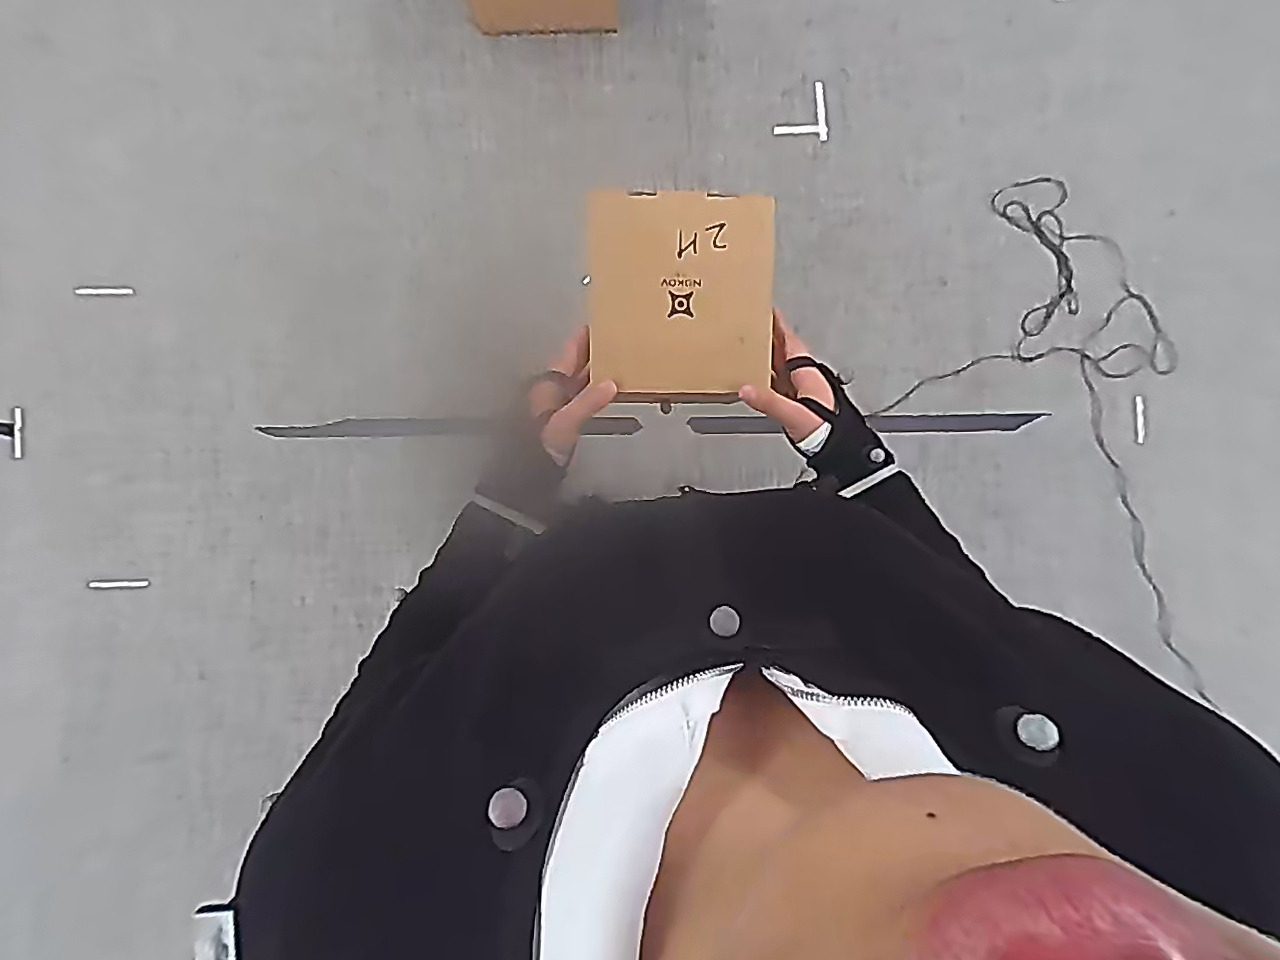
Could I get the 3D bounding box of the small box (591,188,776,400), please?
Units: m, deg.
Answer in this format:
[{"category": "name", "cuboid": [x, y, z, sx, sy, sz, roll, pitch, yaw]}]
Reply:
[{"category": "small box", "cuboid": [0.035, -0.177, 0.568, 0.168, 0.176, 0.179, 0, 94, -4]}]
